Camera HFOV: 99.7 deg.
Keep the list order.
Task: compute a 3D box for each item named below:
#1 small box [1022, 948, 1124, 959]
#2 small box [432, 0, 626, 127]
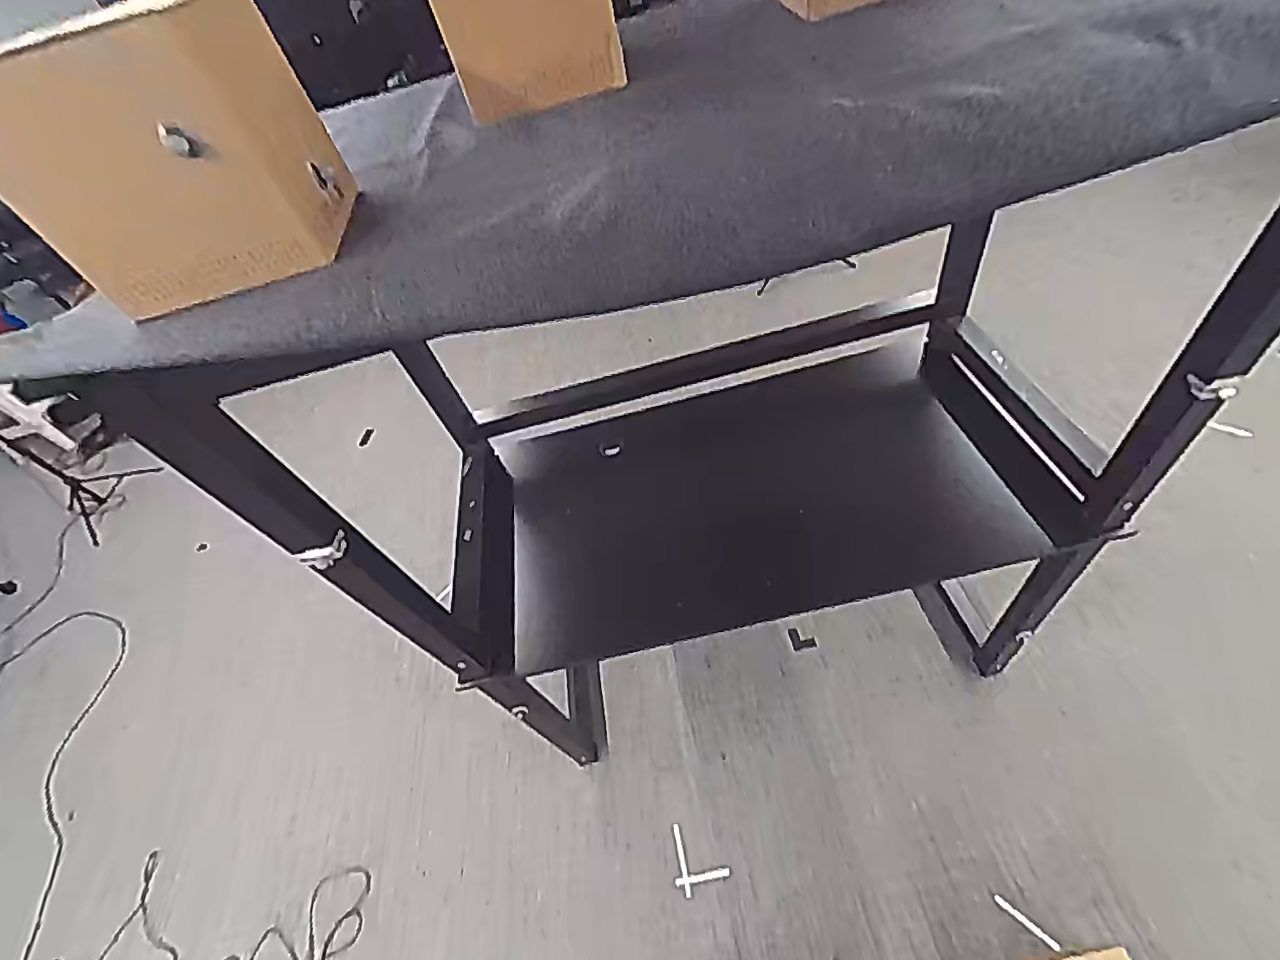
[{"bbox_3d":[0.827,0.998,1.008,0.179,0.176,0.168,-15,49,3],"label":"small box"},{"bbox_3d":[-0.114,-0.518,0.583,0.179,0.176,0.168,-11,50,8],"label":"small box"}]
